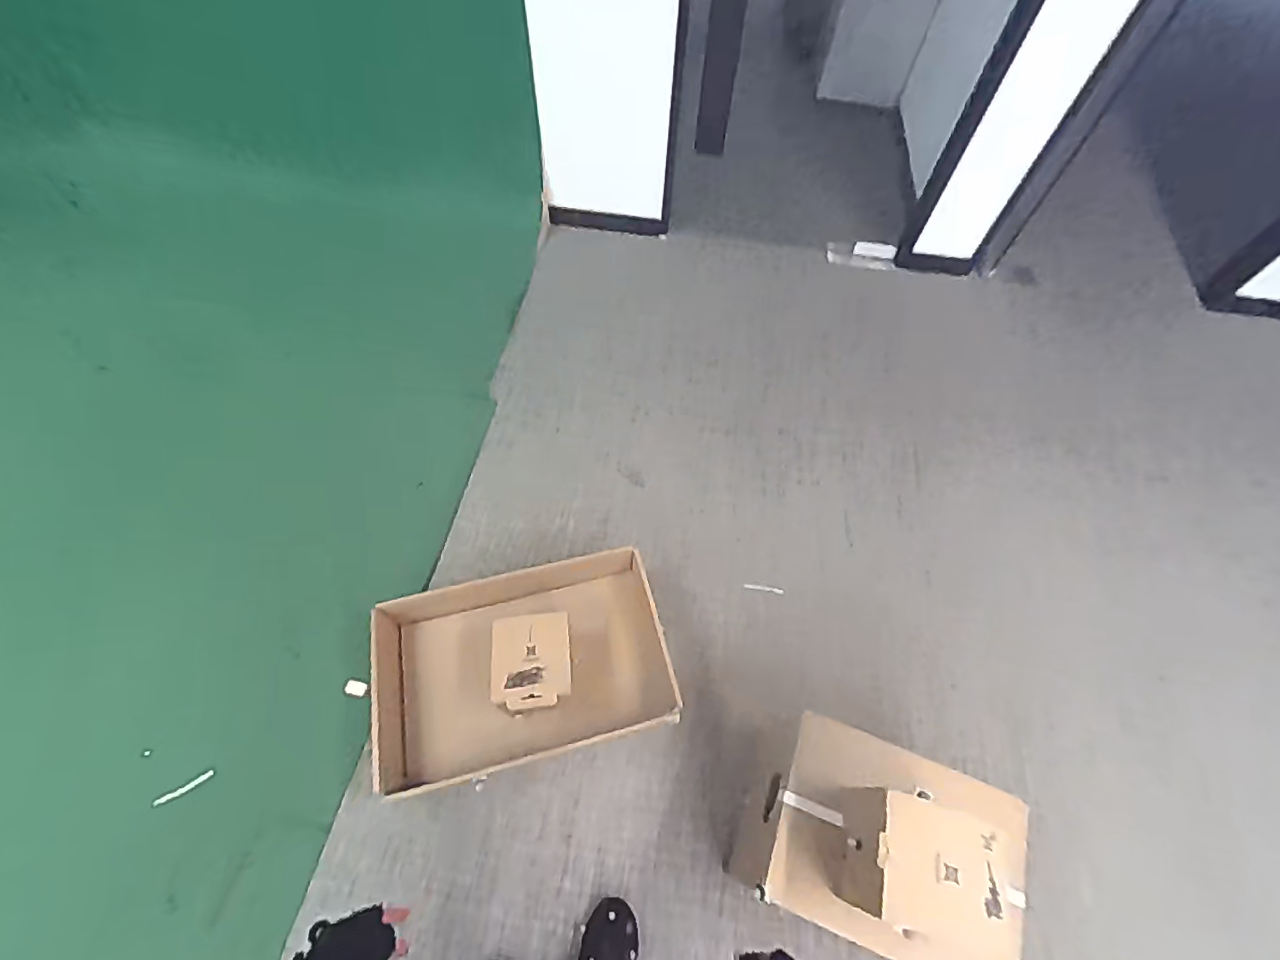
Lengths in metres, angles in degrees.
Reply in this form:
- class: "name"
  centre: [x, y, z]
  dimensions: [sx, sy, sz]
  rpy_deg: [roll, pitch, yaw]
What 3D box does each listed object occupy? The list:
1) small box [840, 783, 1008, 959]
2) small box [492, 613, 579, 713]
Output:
- class: "small box"
  centre: [0.422, 0.585, 0.829]
  dimensions: [0.179, 0.176, 0.168]
  rpy_deg: [15, 61, 7]
- class: "small box"
  centre: [-0.228, 0.414, 1.209]
  dimensions: [0.168, 0.176, 0.179]
  rpy_deg: [-5, 58, -5]
